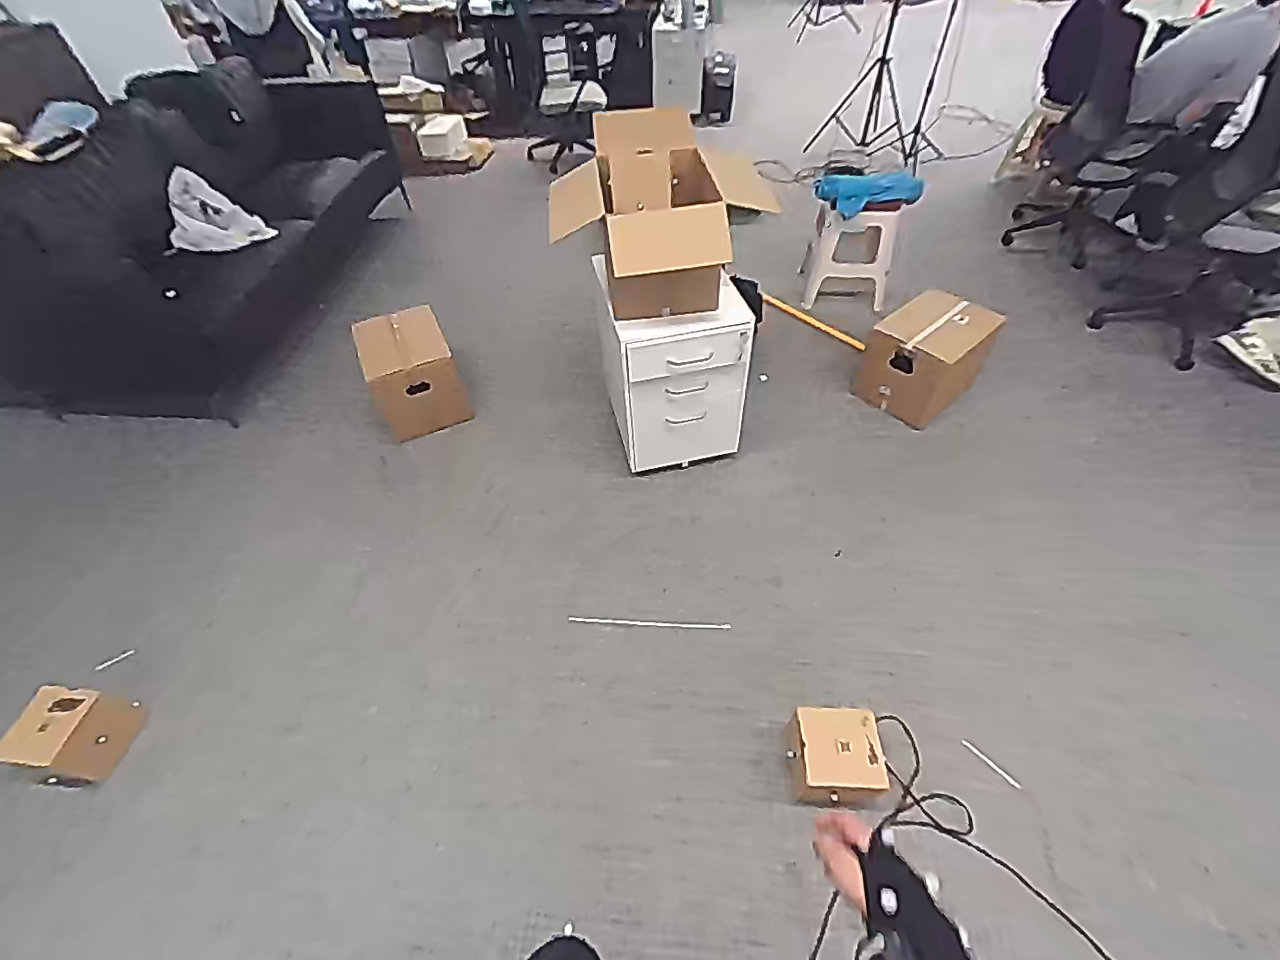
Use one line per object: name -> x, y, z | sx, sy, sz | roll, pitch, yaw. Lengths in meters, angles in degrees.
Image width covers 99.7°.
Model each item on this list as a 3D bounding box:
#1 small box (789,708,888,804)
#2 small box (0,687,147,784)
small box -> 0.448, 0.645, 1.259 | 0.179, 0.176, 0.168 | 0, 49, 4
small box -> -1.425, 0.651, 1.376 | 0.168, 0.176, 0.179 | 3, 50, 6
